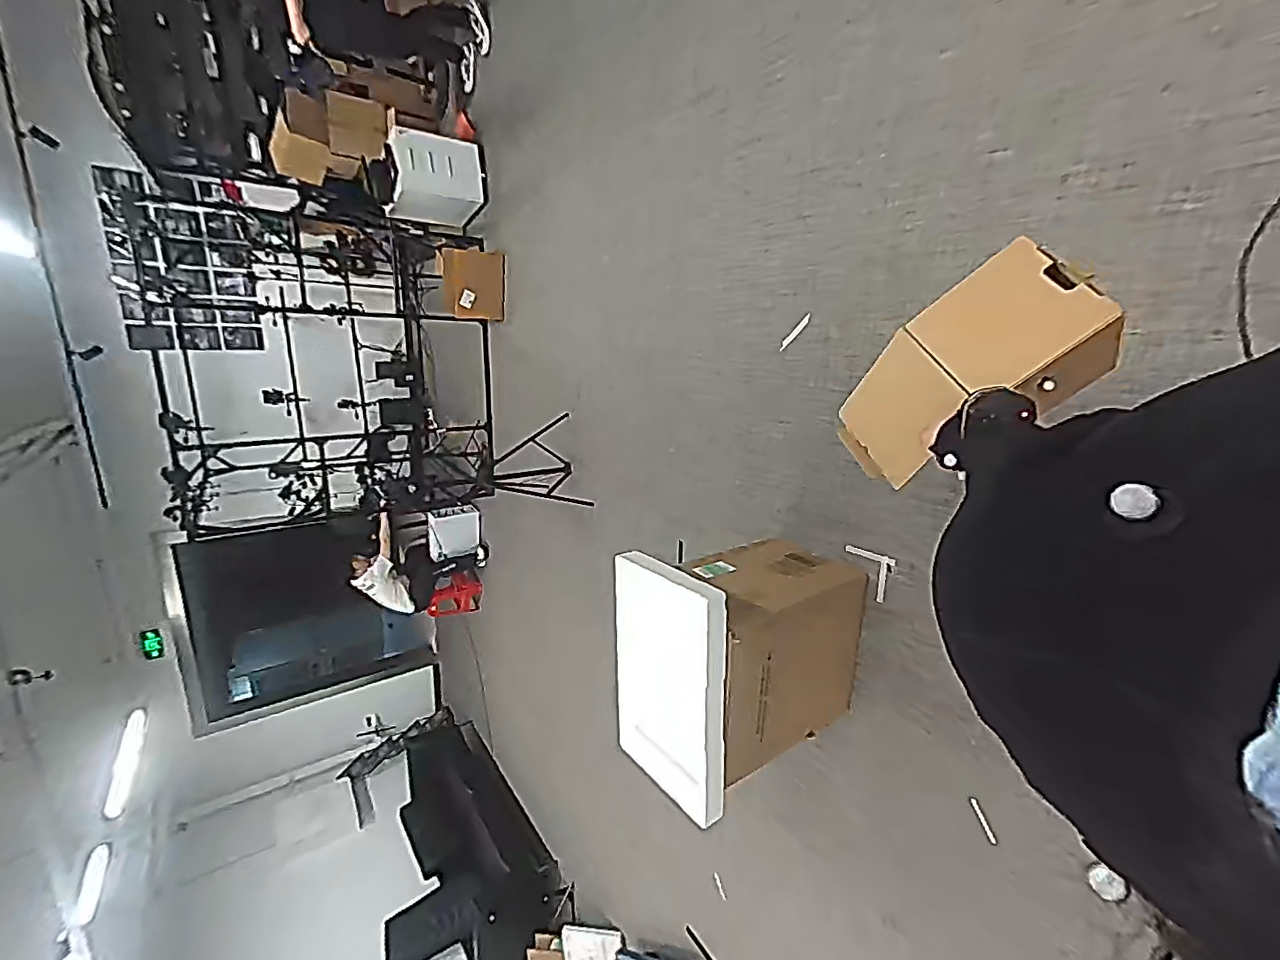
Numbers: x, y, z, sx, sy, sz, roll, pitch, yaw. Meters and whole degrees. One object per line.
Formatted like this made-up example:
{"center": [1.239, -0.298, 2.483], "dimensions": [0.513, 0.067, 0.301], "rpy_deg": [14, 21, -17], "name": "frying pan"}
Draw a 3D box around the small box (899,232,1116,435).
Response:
{"center": [0.499, -0.187, 0.742], "dimensions": [0.179, 0.176, 0.168], "rpy_deg": [-40, 56, 23], "name": "small box"}
